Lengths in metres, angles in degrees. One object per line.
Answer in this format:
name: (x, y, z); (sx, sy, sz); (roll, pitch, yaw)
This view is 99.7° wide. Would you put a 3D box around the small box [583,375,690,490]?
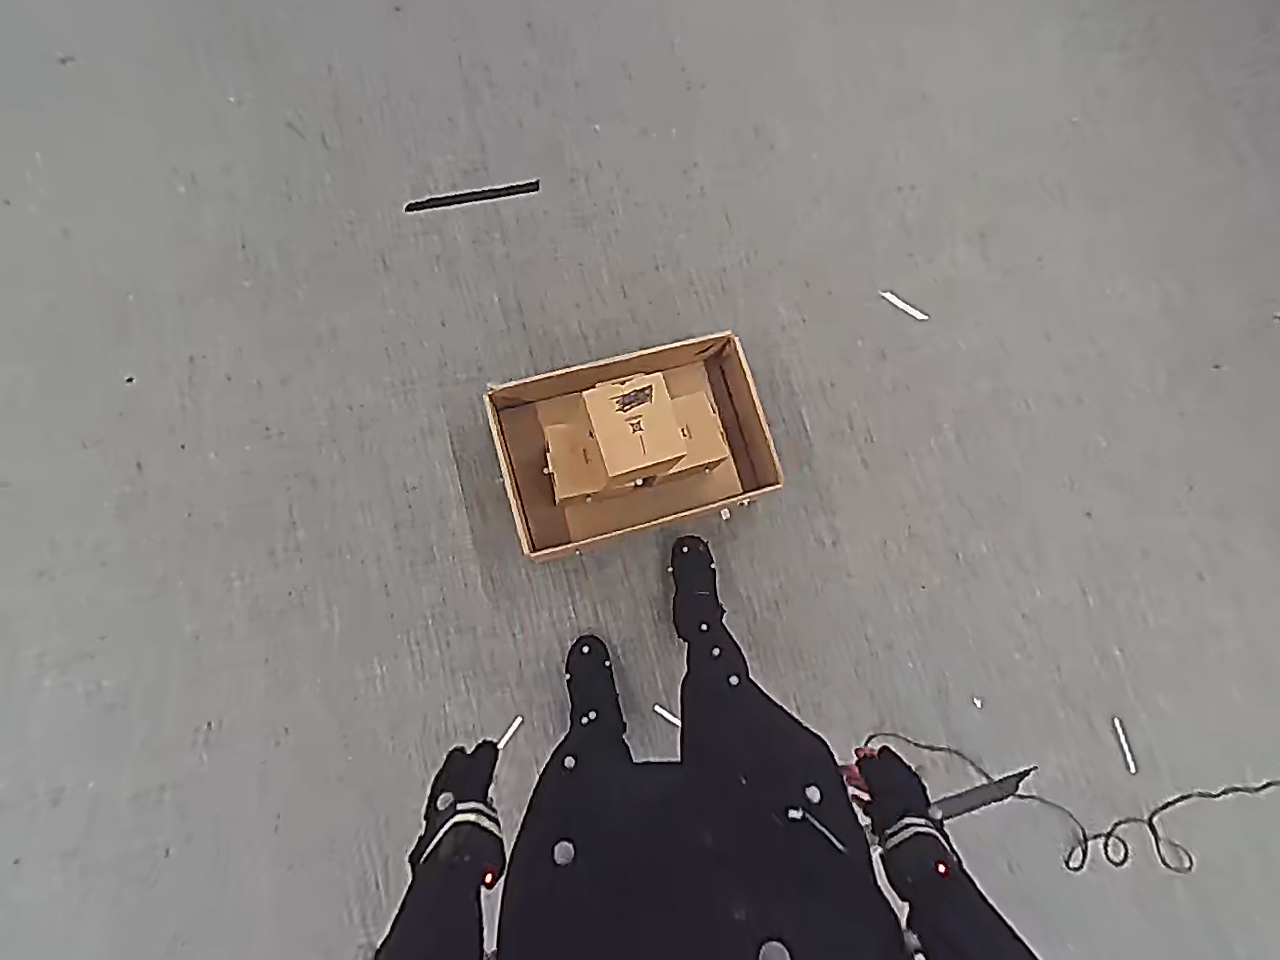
small box: (-0.017, -0.092, 1.122); (0.168, 0.176, 0.179); (-16, 83, -12)
